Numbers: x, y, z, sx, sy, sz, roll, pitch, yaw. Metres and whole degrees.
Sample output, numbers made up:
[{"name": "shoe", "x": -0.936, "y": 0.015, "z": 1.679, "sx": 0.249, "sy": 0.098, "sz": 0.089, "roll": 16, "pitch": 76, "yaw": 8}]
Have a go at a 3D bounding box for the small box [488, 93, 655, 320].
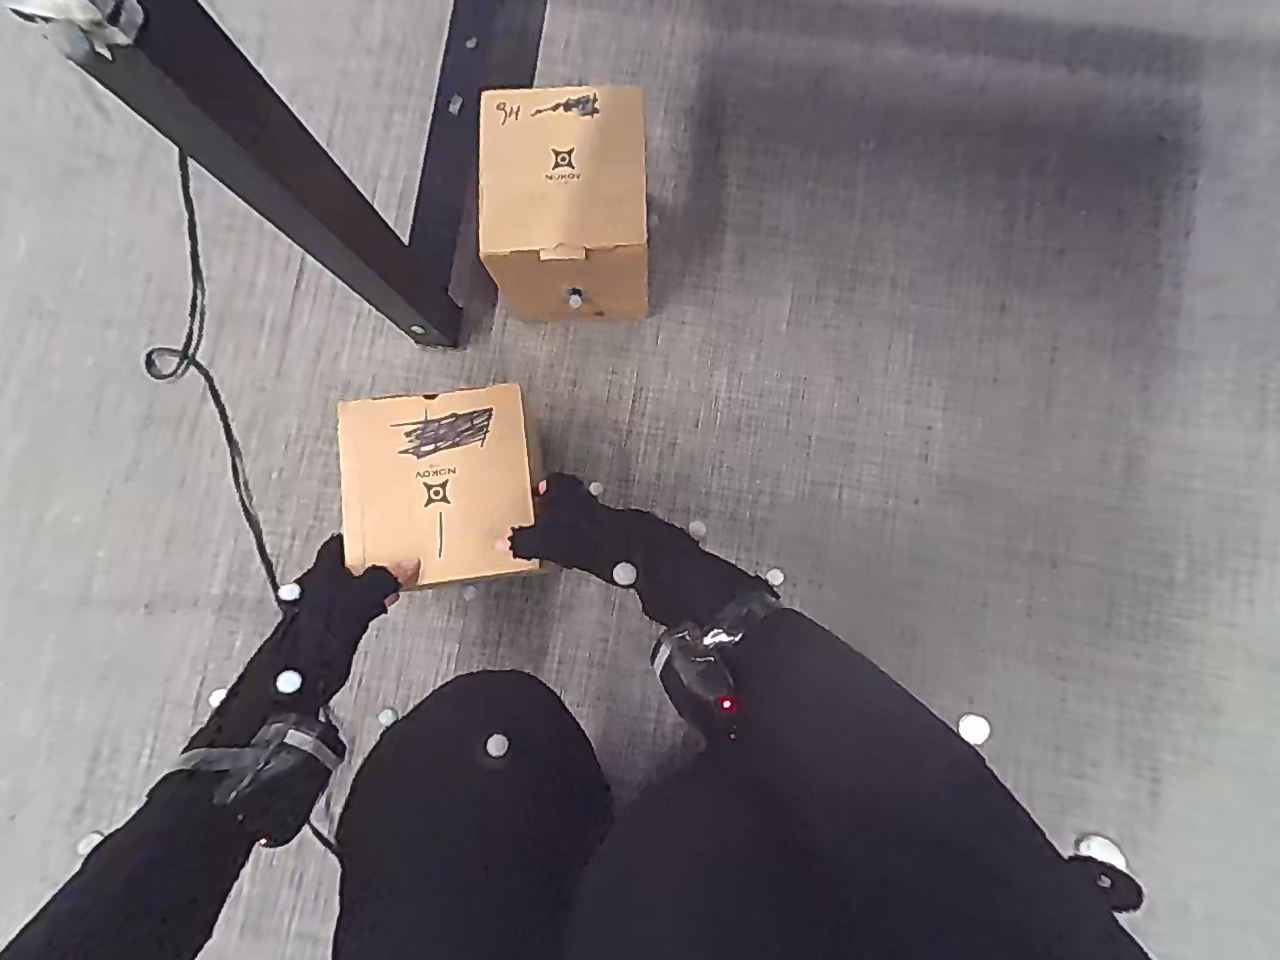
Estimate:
[{"name": "small box", "x": -0.066, "y": -0.292, "z": 0.612, "sx": 0.168, "sy": 0.176, "sz": 0.179, "roll": 0, "pitch": 84, "yaw": 0}]
